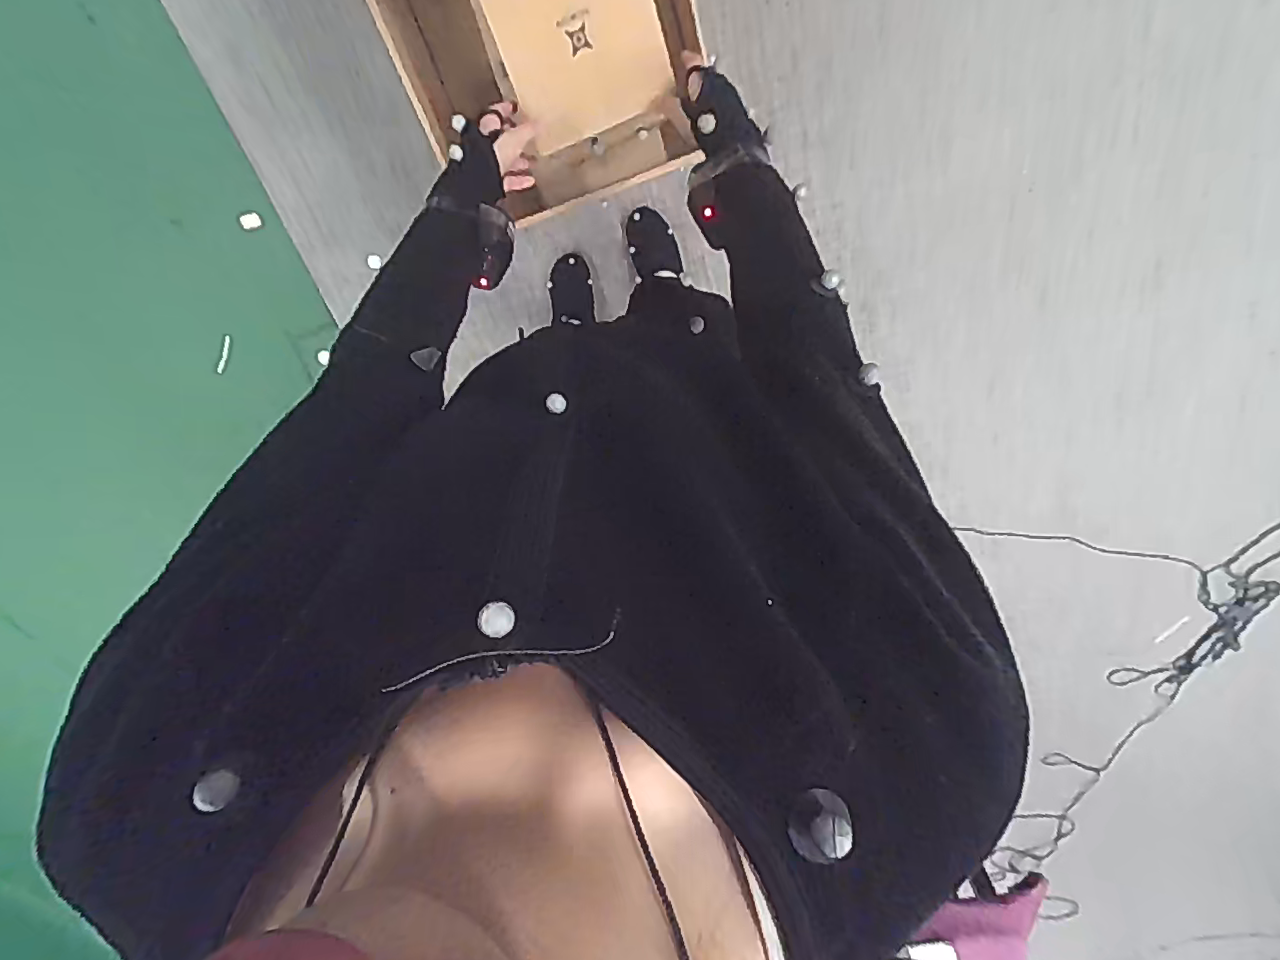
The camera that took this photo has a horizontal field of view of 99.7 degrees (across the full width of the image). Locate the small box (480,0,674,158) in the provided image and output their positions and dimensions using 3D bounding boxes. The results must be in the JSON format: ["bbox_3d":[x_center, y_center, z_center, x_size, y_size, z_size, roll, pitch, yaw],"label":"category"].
[{"bbox_3d":[-0.064,-0.493,0.621,0.168,0.176,0.179,-17,117,10],"label":"small box"}]
